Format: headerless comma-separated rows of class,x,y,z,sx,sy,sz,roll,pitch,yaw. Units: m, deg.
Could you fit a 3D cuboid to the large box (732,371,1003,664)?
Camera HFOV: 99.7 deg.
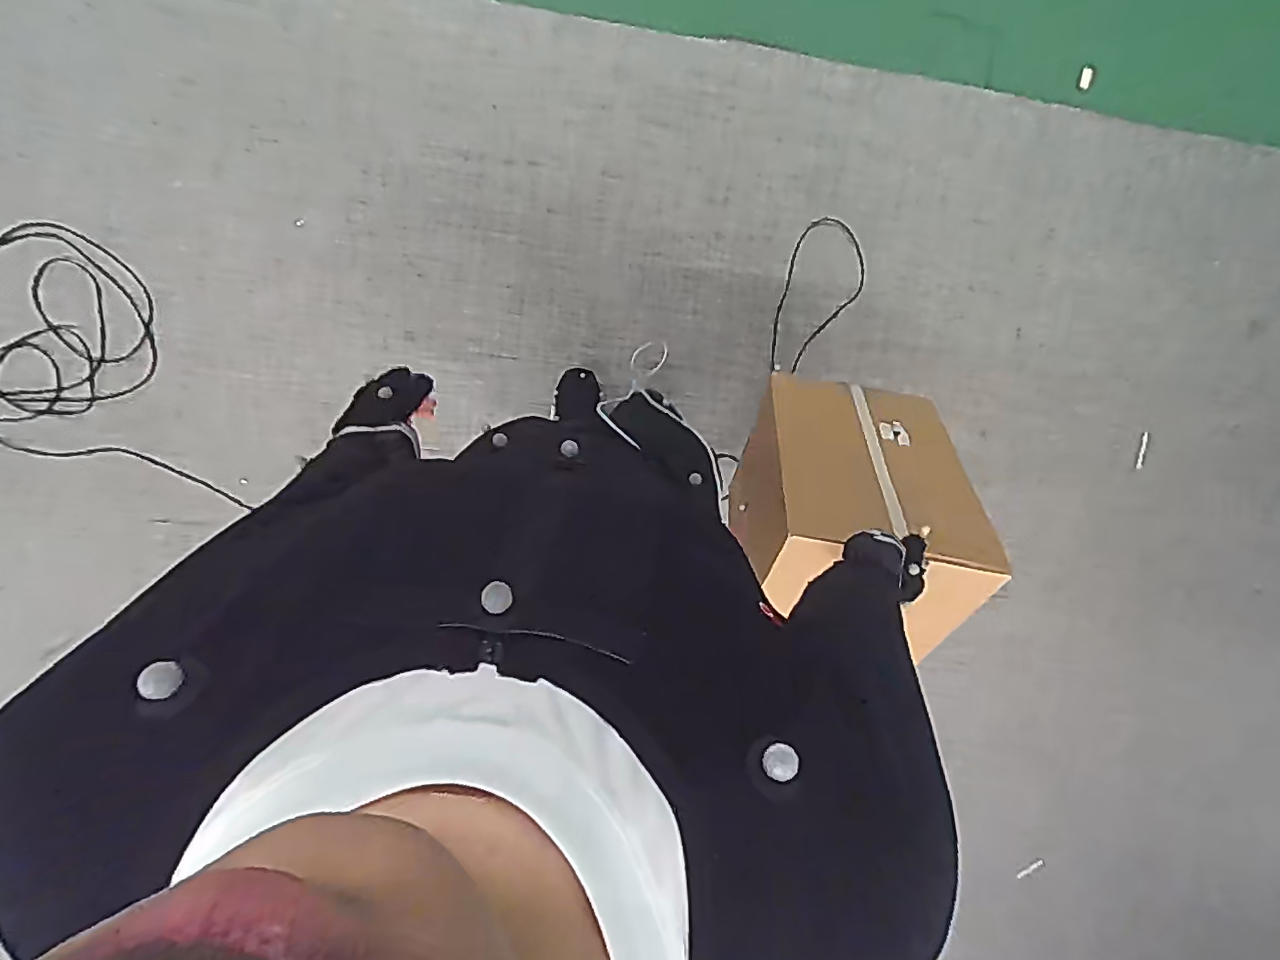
large box,0.353,0.063,0.980,0.320,0.408,0.320,11,135,-1
